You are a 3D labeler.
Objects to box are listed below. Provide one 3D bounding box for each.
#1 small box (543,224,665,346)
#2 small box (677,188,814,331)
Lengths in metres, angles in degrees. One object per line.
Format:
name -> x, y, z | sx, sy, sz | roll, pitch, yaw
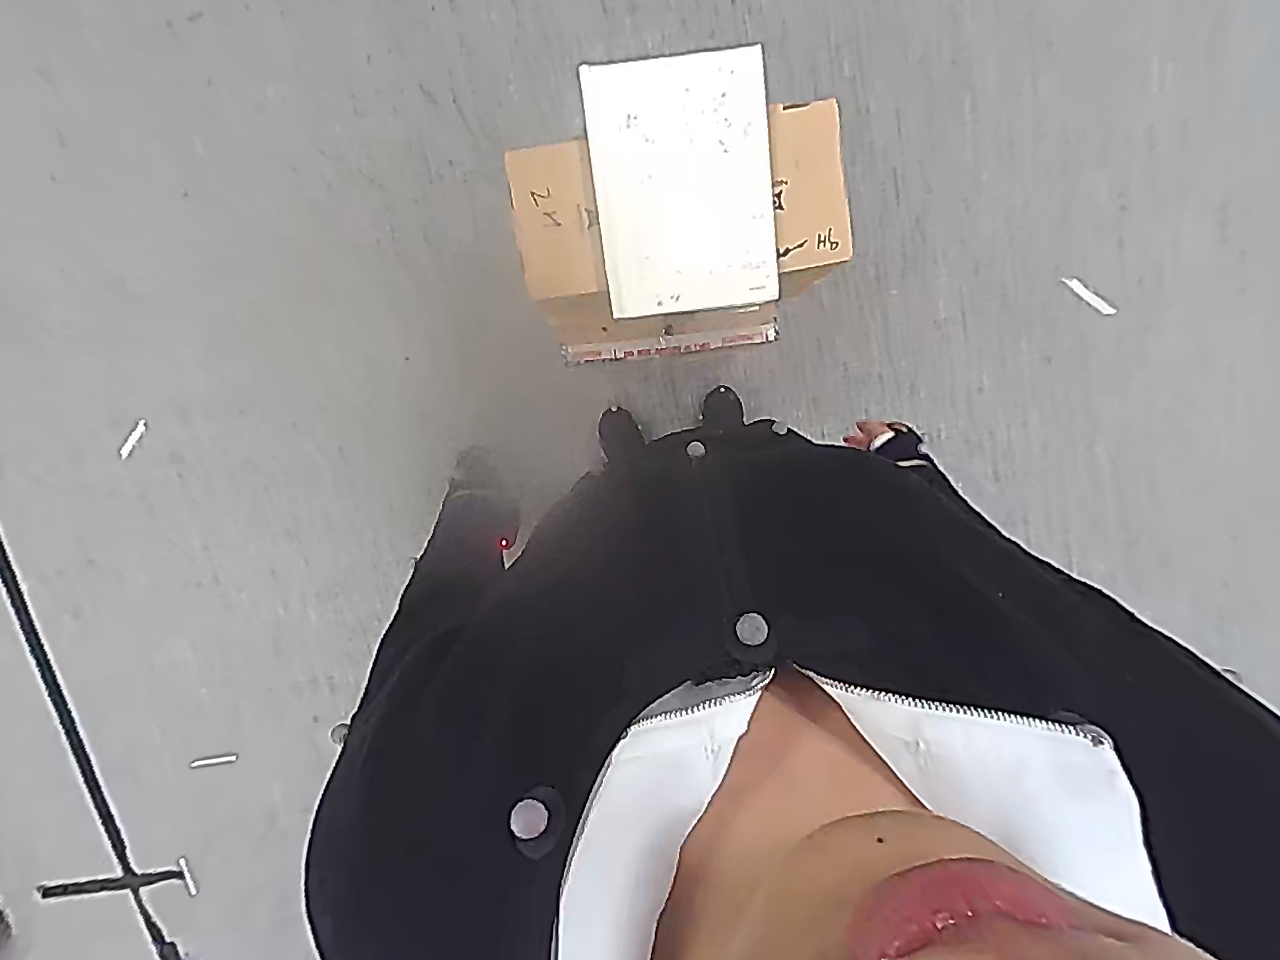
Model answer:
small box -> -0.051, -0.310, 0.888 | 0.179, 0.176, 0.168 | -2, 101, 4
small box -> 0.162, -0.345, 0.877 | 0.179, 0.176, 0.168 | -11, 100, 4
